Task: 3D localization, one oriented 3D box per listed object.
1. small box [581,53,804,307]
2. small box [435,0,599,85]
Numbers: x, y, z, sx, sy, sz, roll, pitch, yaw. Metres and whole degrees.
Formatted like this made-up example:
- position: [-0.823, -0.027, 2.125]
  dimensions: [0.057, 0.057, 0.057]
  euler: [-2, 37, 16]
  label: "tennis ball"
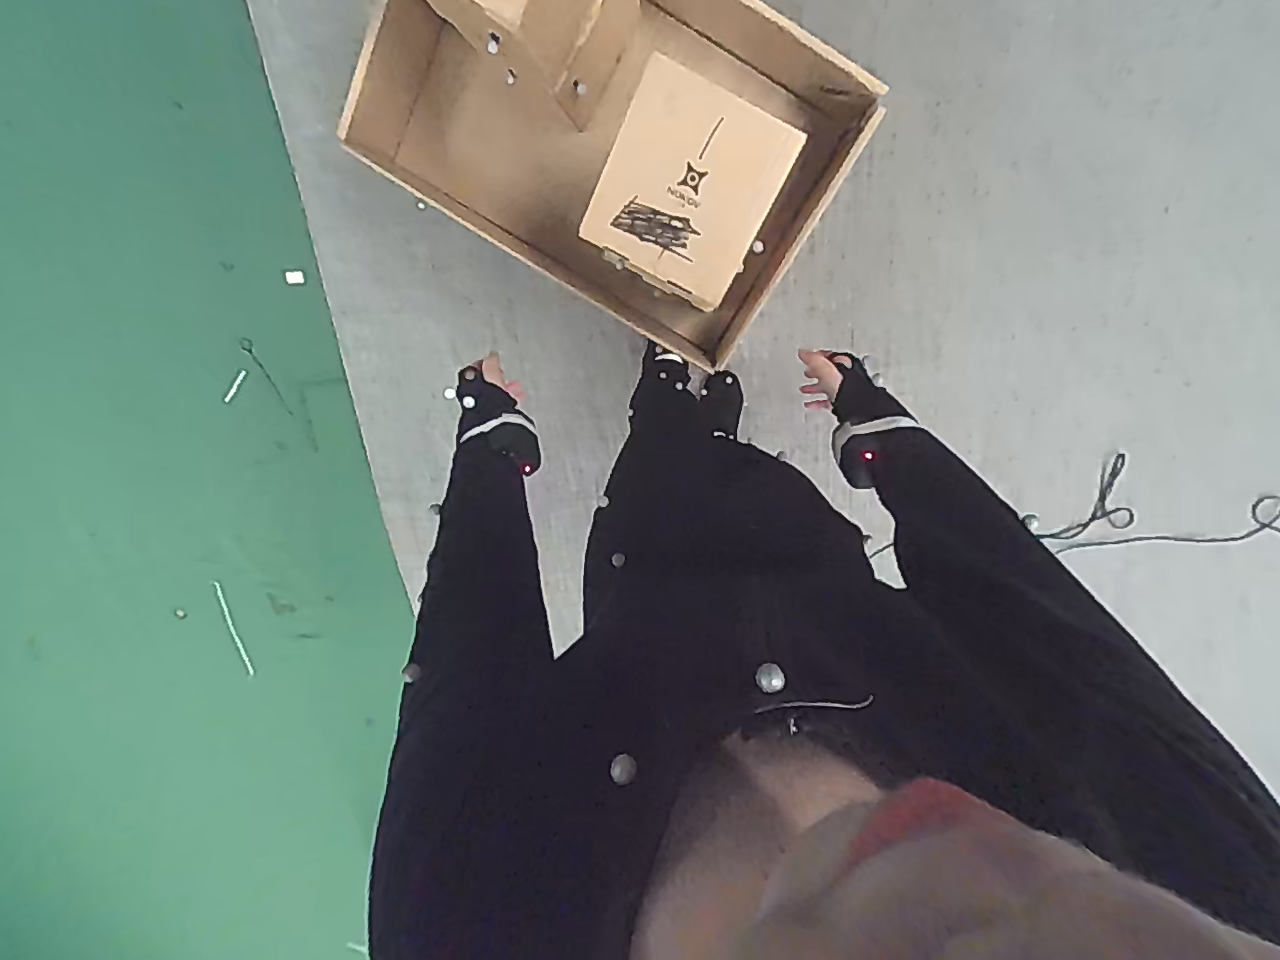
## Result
- position: [0.057, -0.313, 0.608]
  dimensions: [0.168, 0.176, 0.179]
  euler: [27, 109, -3]
  label: "small box"
- position: [-0.132, -0.555, 0.548]
  dimensions: [0.168, 0.176, 0.179]
  euler: [32, 108, -7]
  label: "small box"
